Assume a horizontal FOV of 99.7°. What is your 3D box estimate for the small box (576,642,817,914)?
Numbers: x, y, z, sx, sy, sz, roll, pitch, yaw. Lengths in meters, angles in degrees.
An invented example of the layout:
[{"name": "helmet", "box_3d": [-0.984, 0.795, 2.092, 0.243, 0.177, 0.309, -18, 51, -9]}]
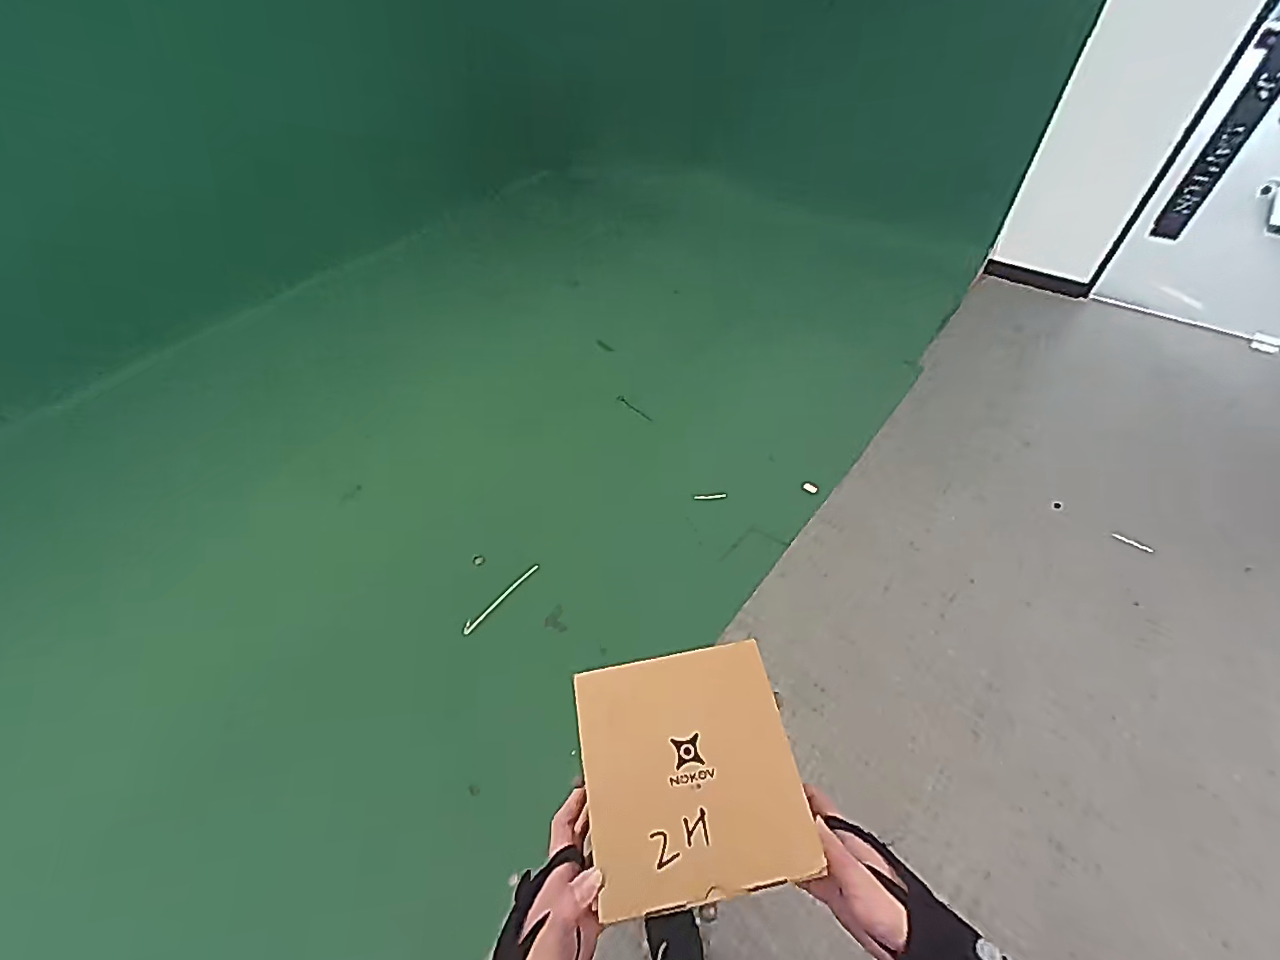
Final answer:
[{"name": "small box", "box_3d": [0.037, 0.273, 0.499, 0.168, 0.176, 0.179, -9, 54, -4]}]
